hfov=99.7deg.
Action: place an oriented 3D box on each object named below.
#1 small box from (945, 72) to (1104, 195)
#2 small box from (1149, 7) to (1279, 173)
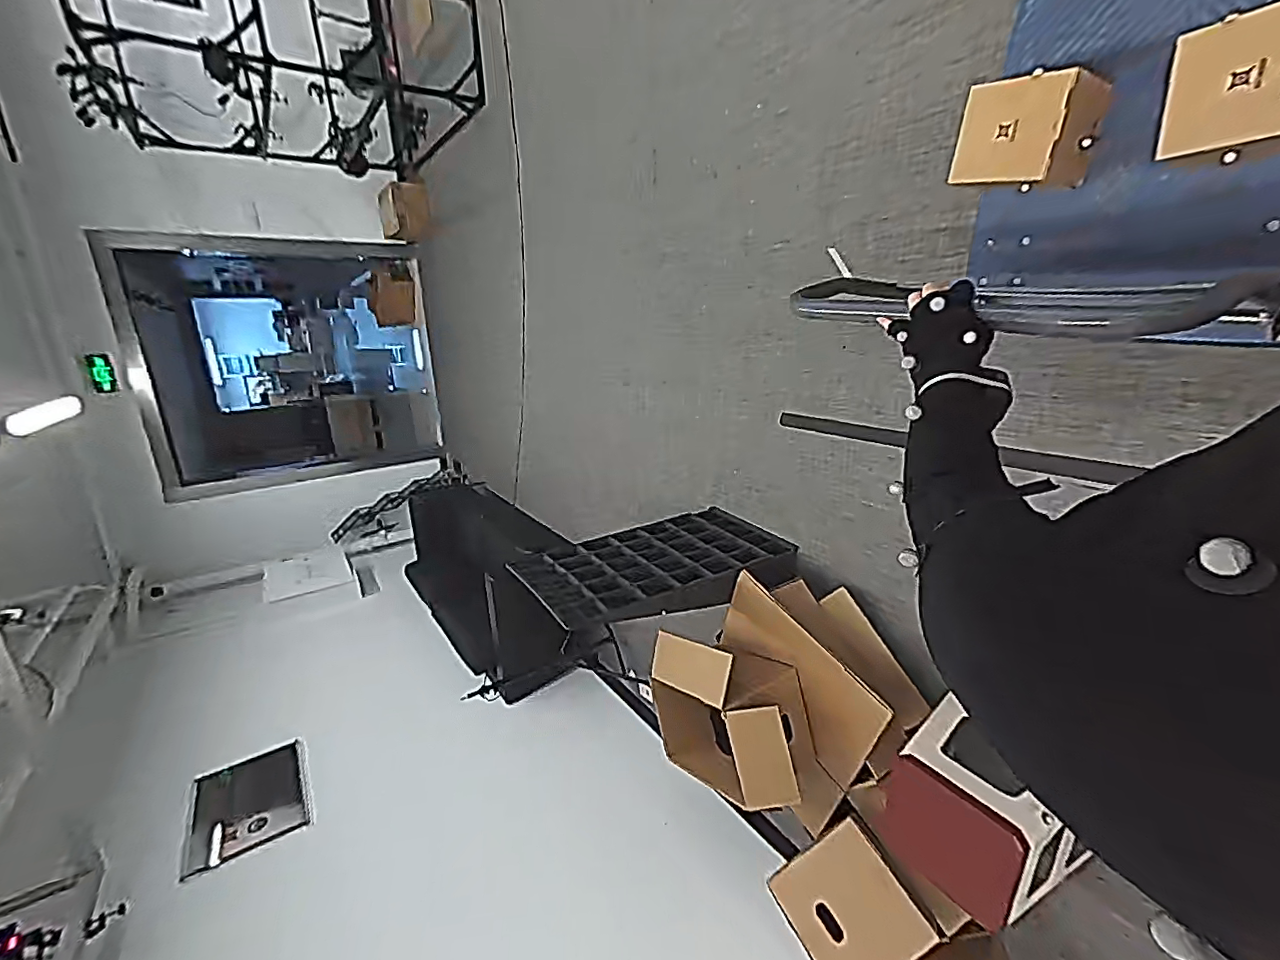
[{"bbox_3d":[0.731,-0.647,1.034,0.179,0.176,0.168,31,125,46],"label":"small box"},{"bbox_3d":[0.905,-0.566,0.793,0.179,0.176,0.168,20,118,53],"label":"small box"}]
